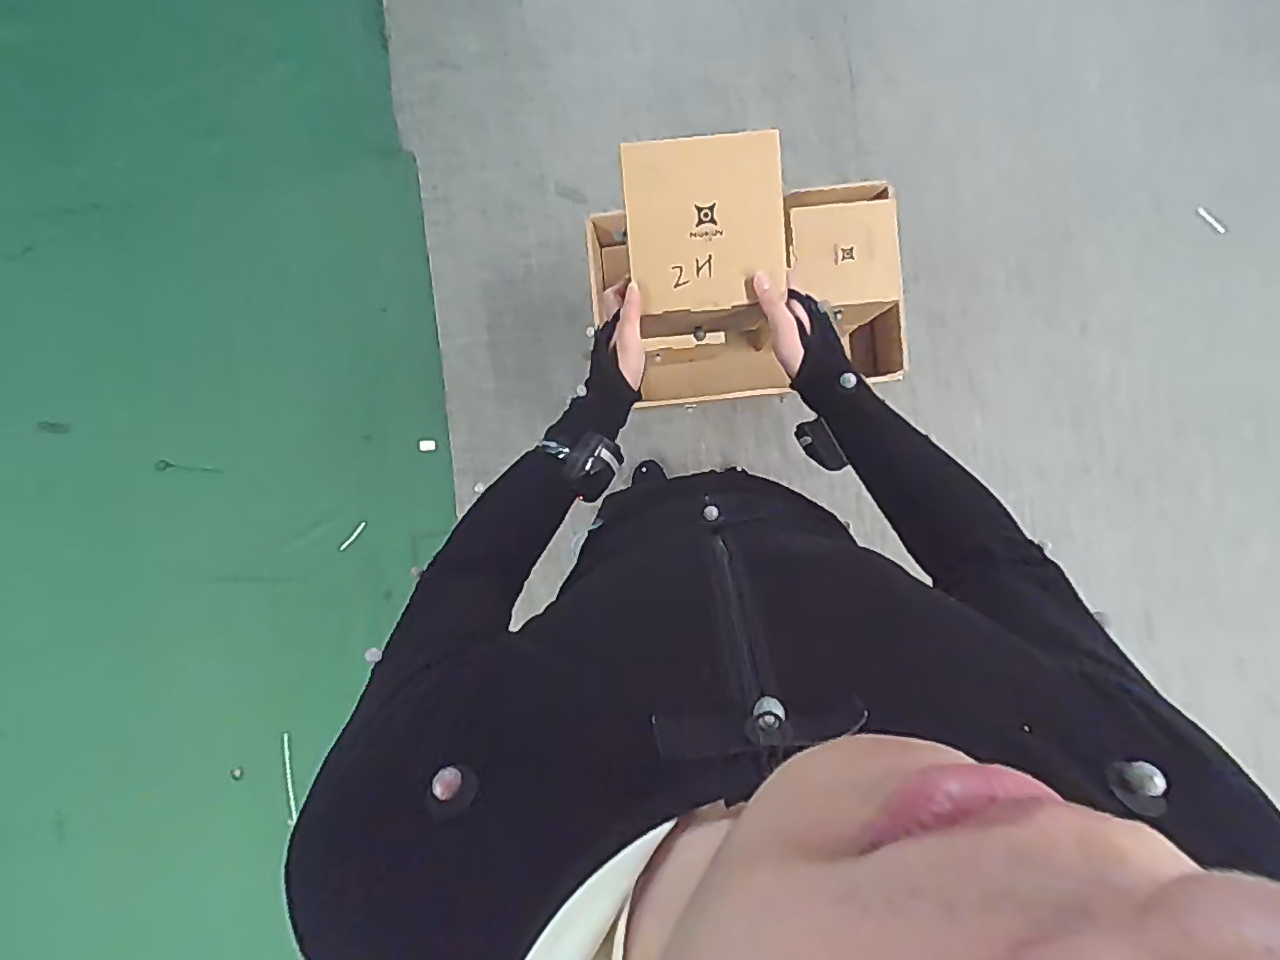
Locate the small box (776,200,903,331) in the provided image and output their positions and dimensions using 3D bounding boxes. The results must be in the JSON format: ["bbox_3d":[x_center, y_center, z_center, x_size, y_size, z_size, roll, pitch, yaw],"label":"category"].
[{"bbox_3d":[0.339,-0.368,0.957,0.179,0.176,0.168,-4,92,1],"label":"small box"}]

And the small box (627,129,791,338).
[{"bbox_3d":[0.070,-0.273,0.636,0.168,0.176,0.179,-4,96,1],"label":"small box"}]
